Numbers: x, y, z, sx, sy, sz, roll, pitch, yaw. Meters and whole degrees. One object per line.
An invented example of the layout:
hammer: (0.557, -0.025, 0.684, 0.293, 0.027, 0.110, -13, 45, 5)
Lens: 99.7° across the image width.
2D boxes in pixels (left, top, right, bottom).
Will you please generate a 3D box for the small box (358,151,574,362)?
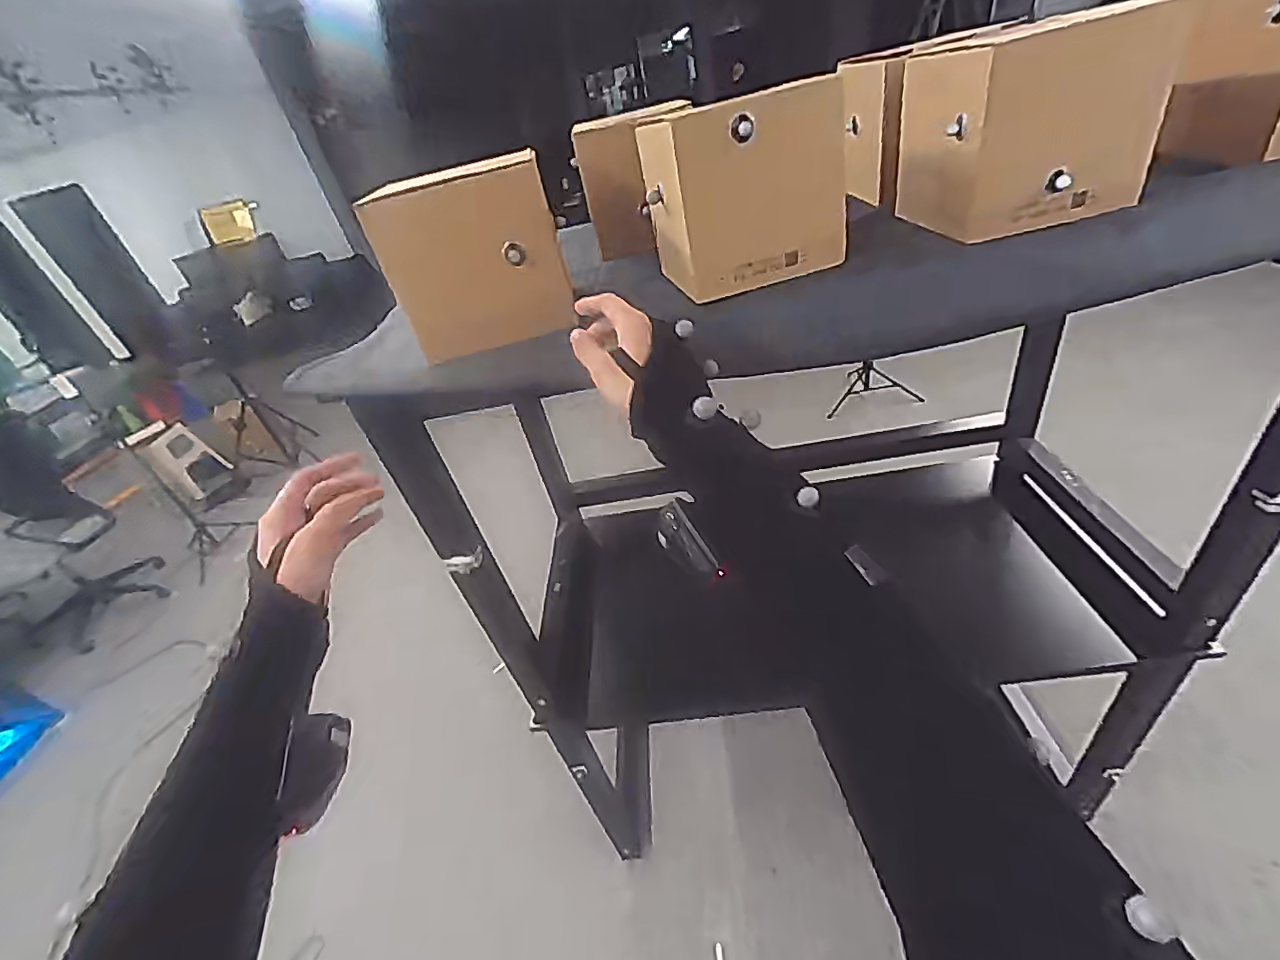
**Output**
small box: (-0.177, -0.255, 0.615, 0.179, 0.176, 0.168, -14, 35, -1)

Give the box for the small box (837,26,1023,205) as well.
small box: (0.385, -0.496, 0.753, 0.168, 0.176, 0.179, -11, 35, 5)

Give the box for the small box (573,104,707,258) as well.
small box: (0.002, -0.456, 0.829, 0.168, 0.176, 0.179, -11, 36, 4)

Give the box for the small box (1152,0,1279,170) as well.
small box: (0.702, -0.439, 0.565, 0.168, 0.176, 0.179, -7, 36, 11)
